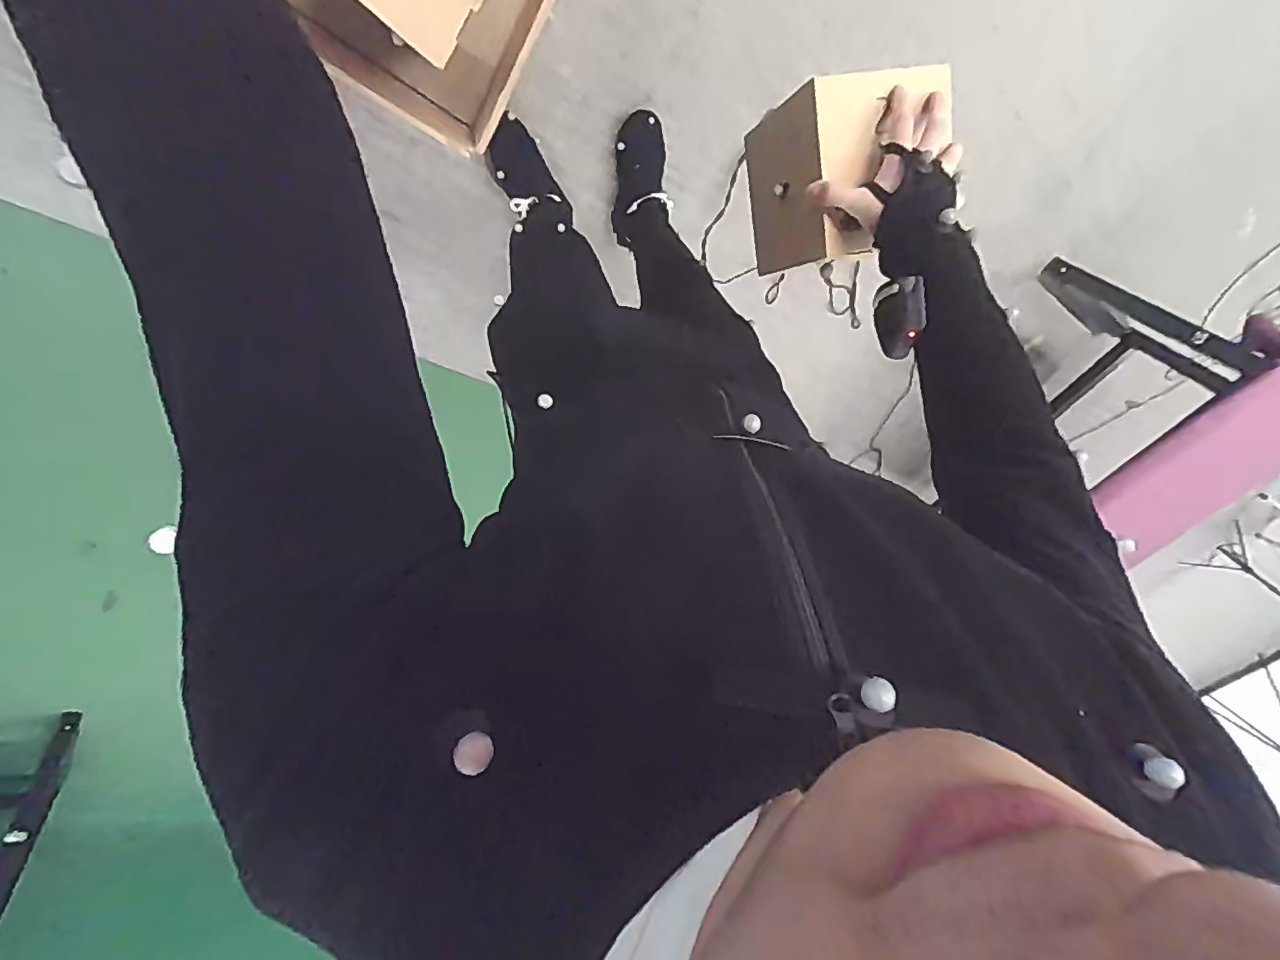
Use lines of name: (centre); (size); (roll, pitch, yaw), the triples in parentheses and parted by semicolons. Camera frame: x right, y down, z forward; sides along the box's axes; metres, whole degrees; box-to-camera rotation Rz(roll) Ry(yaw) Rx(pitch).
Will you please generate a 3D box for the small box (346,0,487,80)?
small box: (-0.225, -0.530, 0.508); (0.179, 0.176, 0.168); (27, 117, -36)
